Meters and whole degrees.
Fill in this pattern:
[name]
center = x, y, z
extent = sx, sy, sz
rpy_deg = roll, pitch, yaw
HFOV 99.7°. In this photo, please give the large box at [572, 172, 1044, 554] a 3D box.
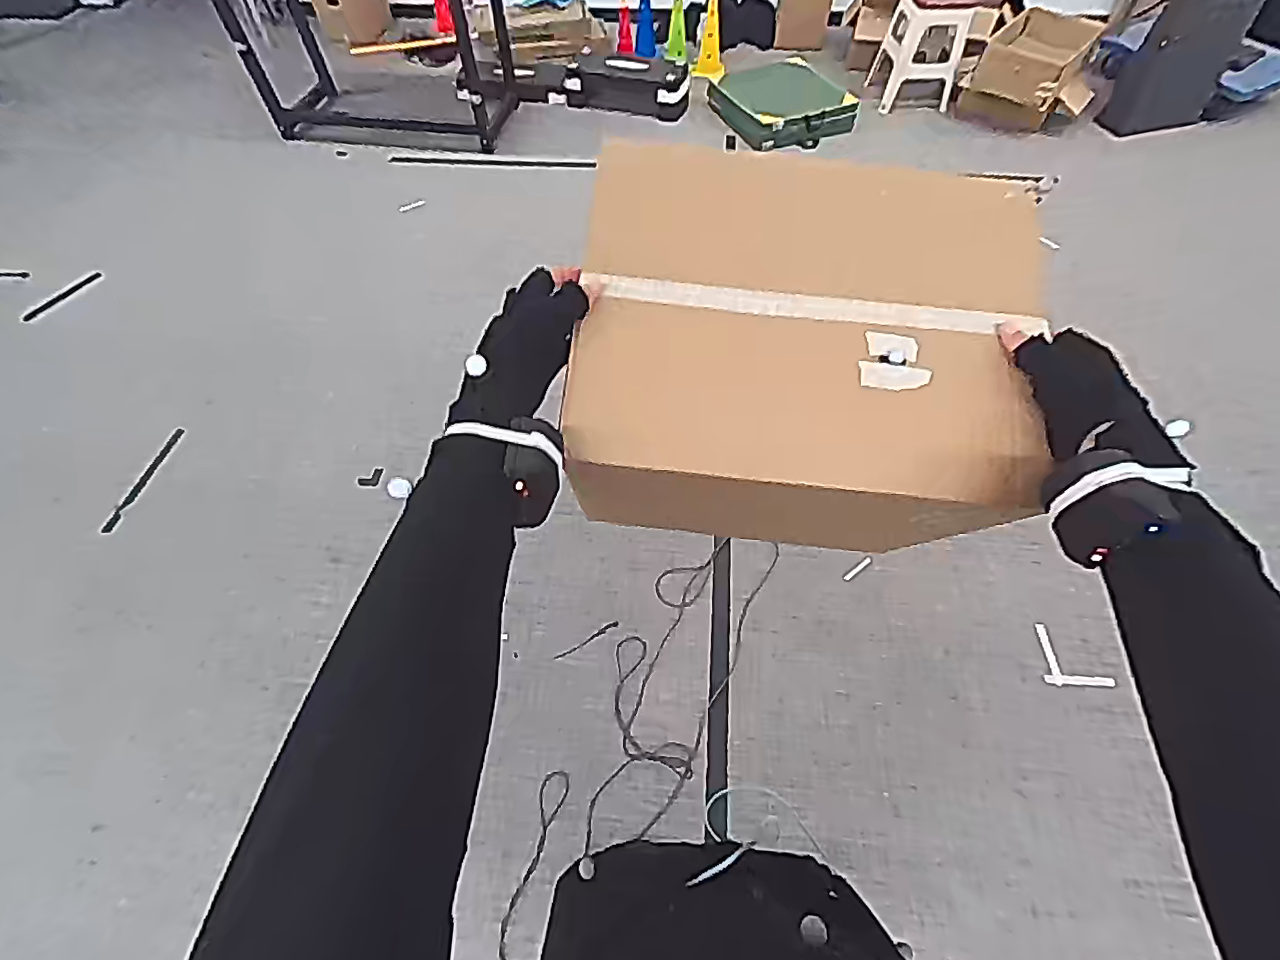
[large box]
center = 0.148, -0.099, 0.629
extent = 0.408, 0.320, 0.320
rpy_deg = 6, 77, 1
